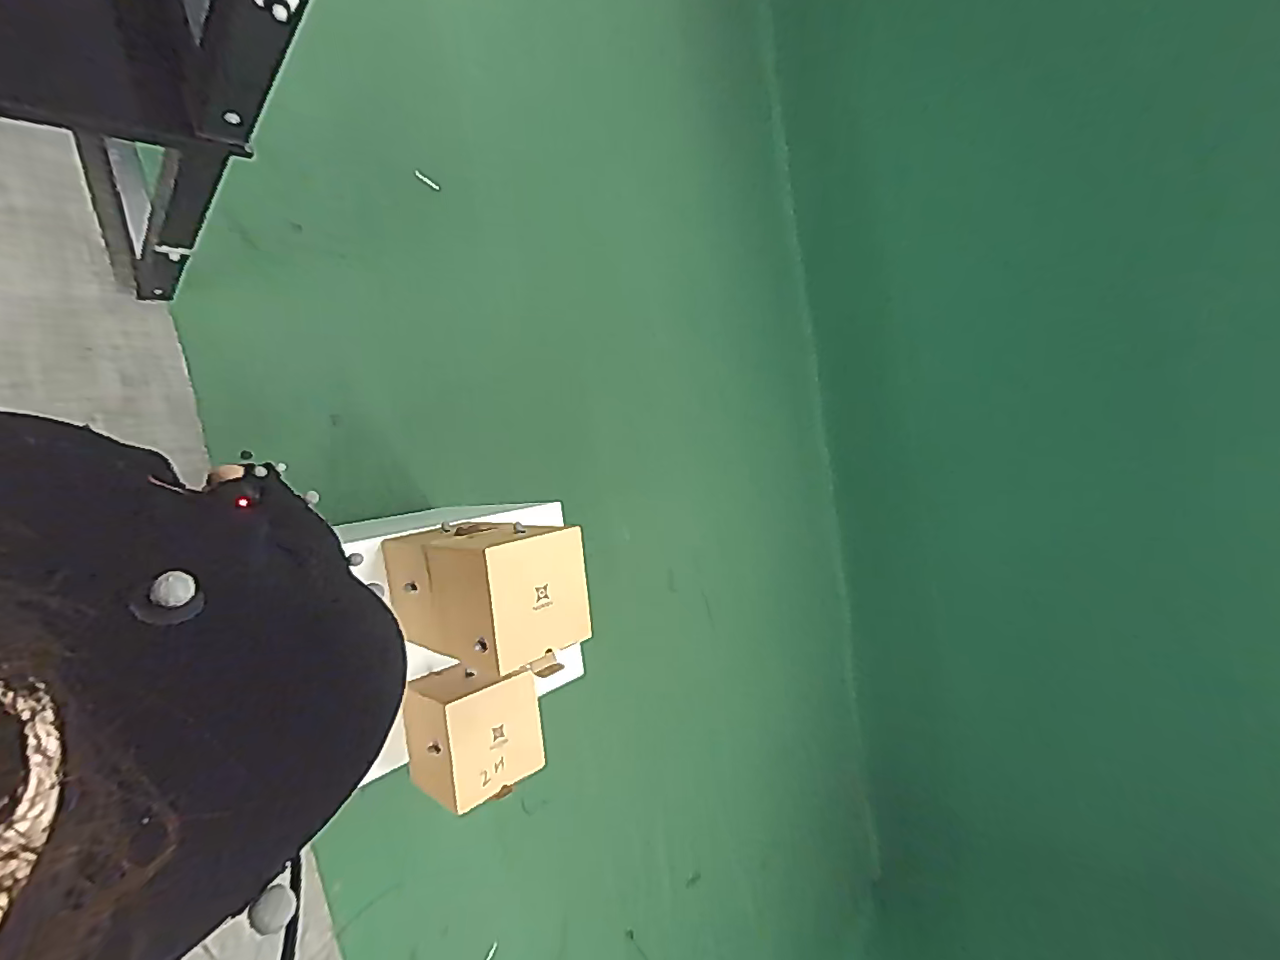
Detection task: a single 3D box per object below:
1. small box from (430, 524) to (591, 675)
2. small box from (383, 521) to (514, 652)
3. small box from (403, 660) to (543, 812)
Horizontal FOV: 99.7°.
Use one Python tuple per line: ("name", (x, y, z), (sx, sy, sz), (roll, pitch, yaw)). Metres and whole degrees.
("small box", (-0.196, 0.164, 0.810), (0.168, 0.176, 0.179), (-10, 97, -47))
("small box", (-0.316, 0.170, 0.921), (0.168, 0.176, 0.179), (-12, 97, -46))
("small box", (-0.290, 0.419, 0.929), (0.168, 0.176, 0.179), (-7, 92, -46))
